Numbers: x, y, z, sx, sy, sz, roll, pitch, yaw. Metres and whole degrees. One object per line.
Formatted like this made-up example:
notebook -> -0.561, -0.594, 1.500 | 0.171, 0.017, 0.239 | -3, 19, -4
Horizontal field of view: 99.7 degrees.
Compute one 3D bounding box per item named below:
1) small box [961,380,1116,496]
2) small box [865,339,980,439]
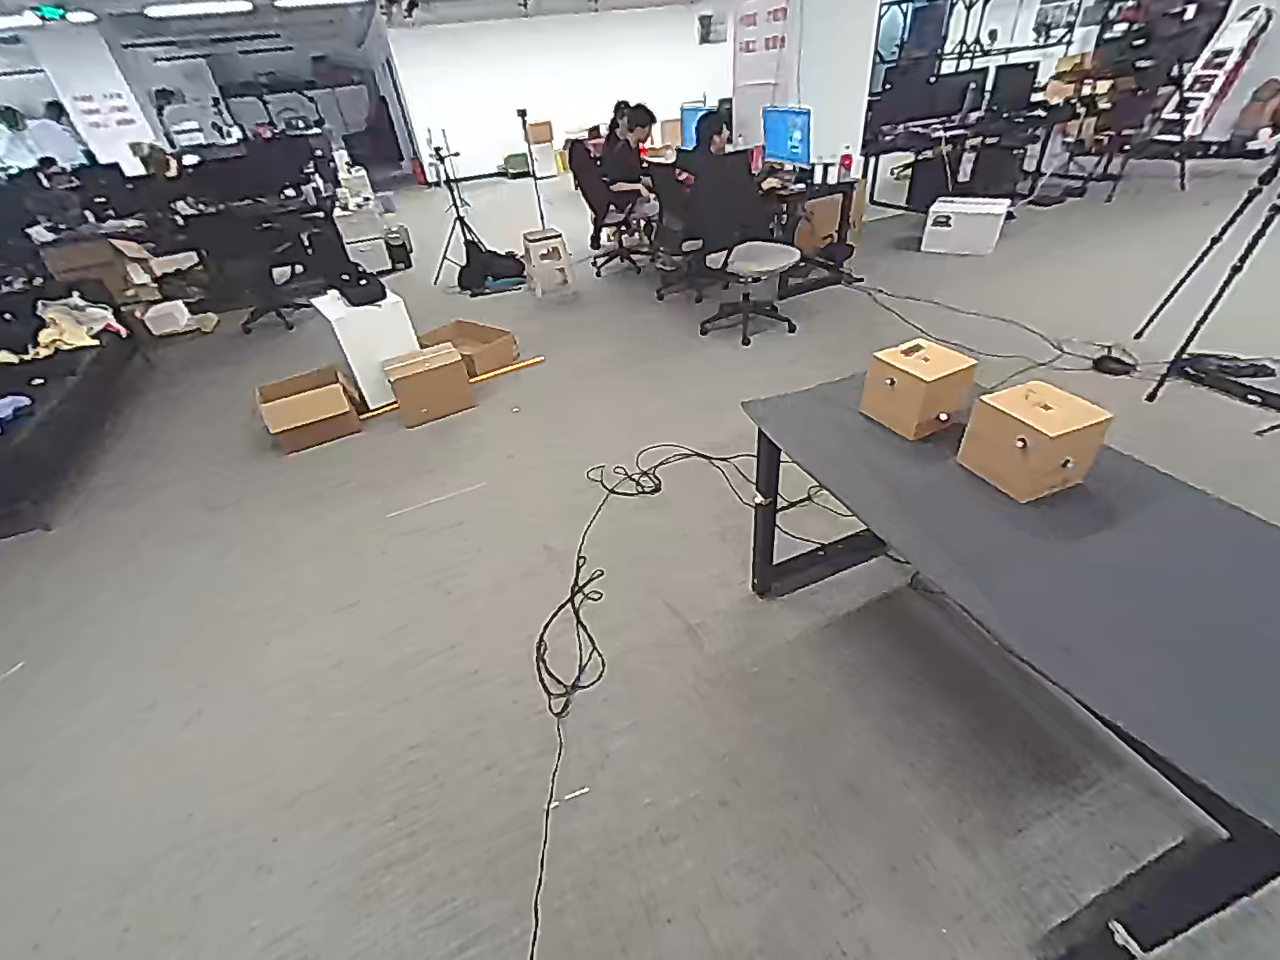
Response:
small box -> 0.823, -0.083, 1.138 | 0.168, 0.176, 0.179 | -16, 38, -13
small box -> 0.692, -0.227, 1.349 | 0.168, 0.176, 0.179 | -20, 40, -17
